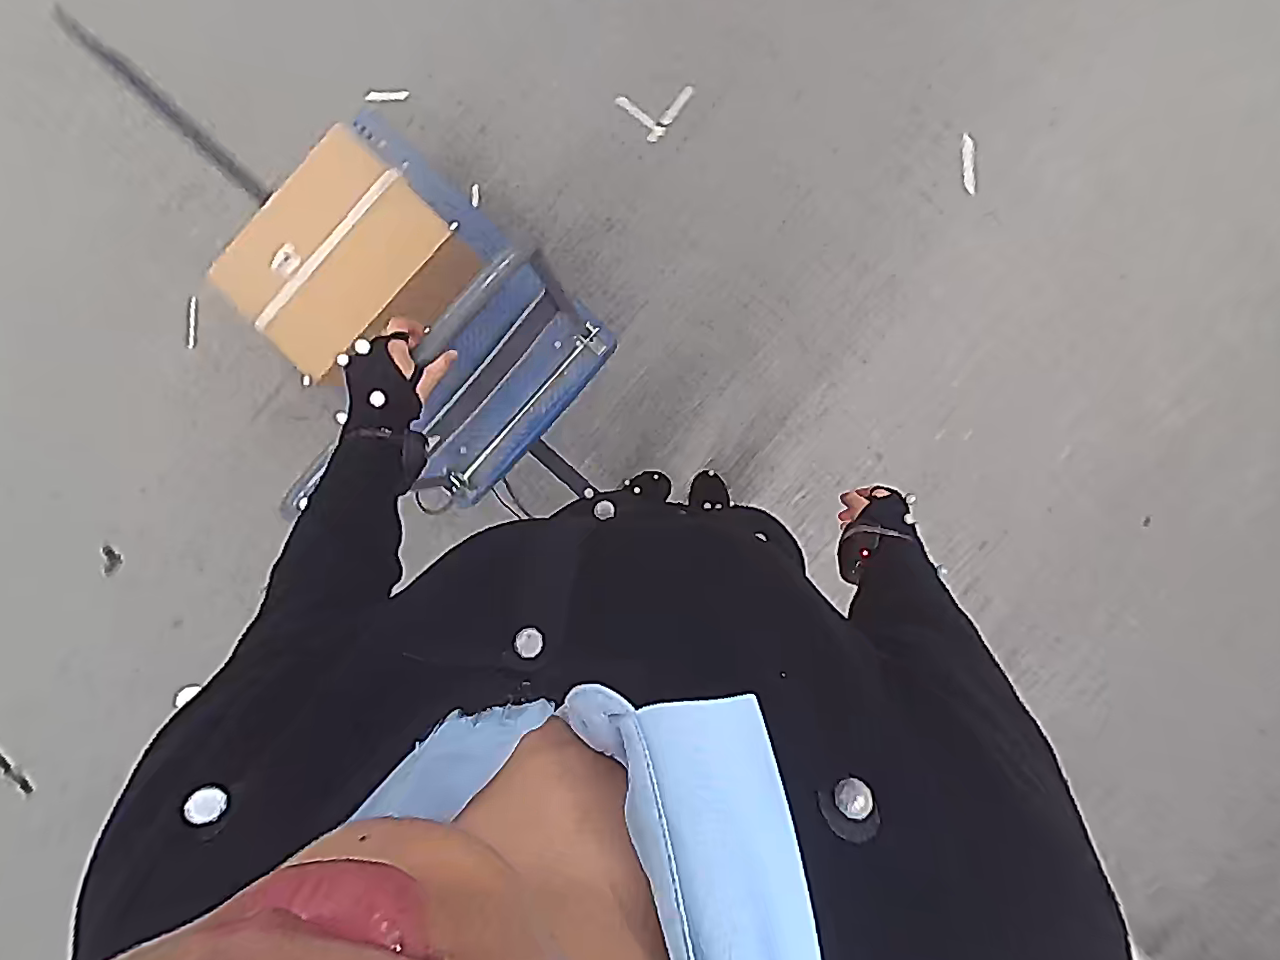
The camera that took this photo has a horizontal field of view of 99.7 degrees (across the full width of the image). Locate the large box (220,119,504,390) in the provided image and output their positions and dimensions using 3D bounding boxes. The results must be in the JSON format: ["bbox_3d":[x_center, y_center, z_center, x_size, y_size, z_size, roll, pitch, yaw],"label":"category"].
[{"bbox_3d":[-0.581,-0.461,1.201,0.320,0.320,0.408,45,95,2],"label":"large box"}]
